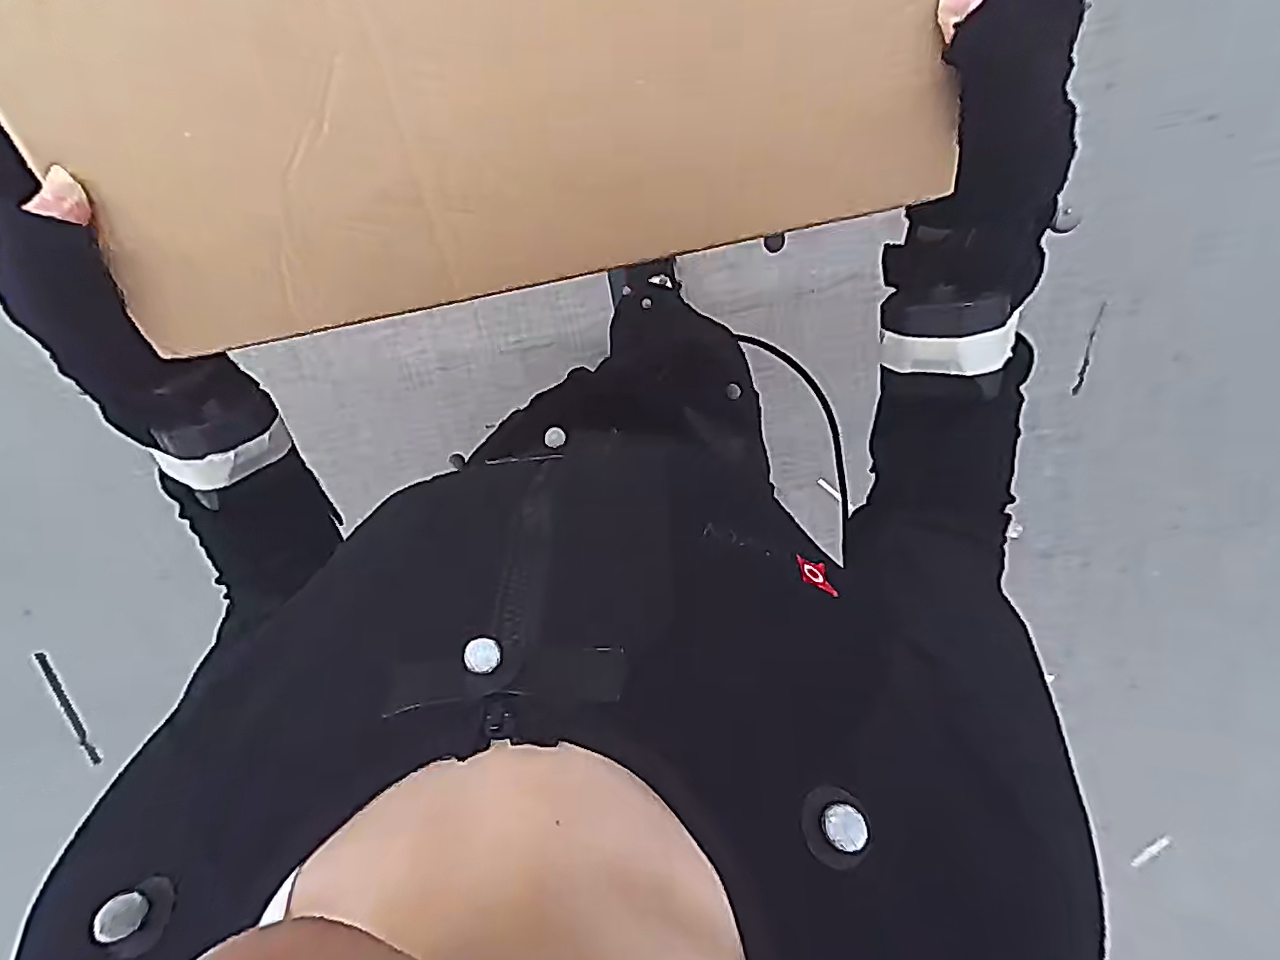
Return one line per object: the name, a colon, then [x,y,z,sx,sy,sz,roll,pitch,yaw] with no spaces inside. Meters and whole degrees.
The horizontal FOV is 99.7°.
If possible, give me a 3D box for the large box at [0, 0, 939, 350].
large box: [-0.085,-0.311,0.332,0.408,0.320,0.320,-10,119,6]
